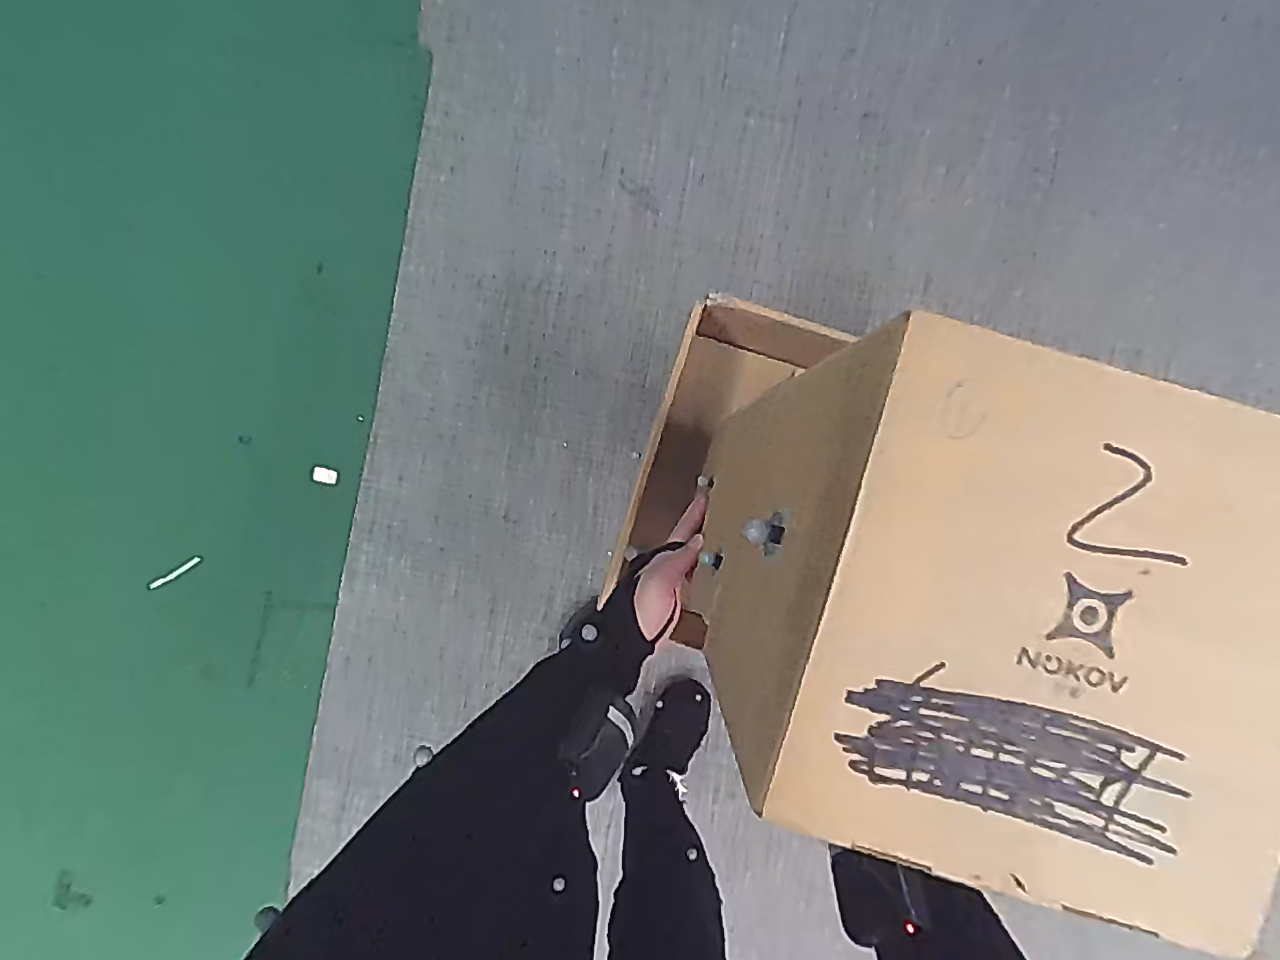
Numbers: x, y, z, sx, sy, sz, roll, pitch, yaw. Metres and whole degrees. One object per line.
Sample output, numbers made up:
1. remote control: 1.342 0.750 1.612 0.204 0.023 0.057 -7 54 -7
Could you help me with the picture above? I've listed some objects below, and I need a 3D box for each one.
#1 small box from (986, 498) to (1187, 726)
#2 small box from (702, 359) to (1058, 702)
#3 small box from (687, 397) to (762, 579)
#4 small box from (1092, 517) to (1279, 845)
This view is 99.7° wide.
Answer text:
1. small box: 0.439 0.121 0.502 0.168 0.176 0.179 16 93 -2
2. small box: 0.154 0.030 0.414 0.168 0.176 0.179 19 92 -1
3. small box: 0.154 0.029 0.576 0.168 0.176 0.179 18 92 0
4. small box: 0.442 0.132 0.339 0.168 0.176 0.179 16 91 -1
